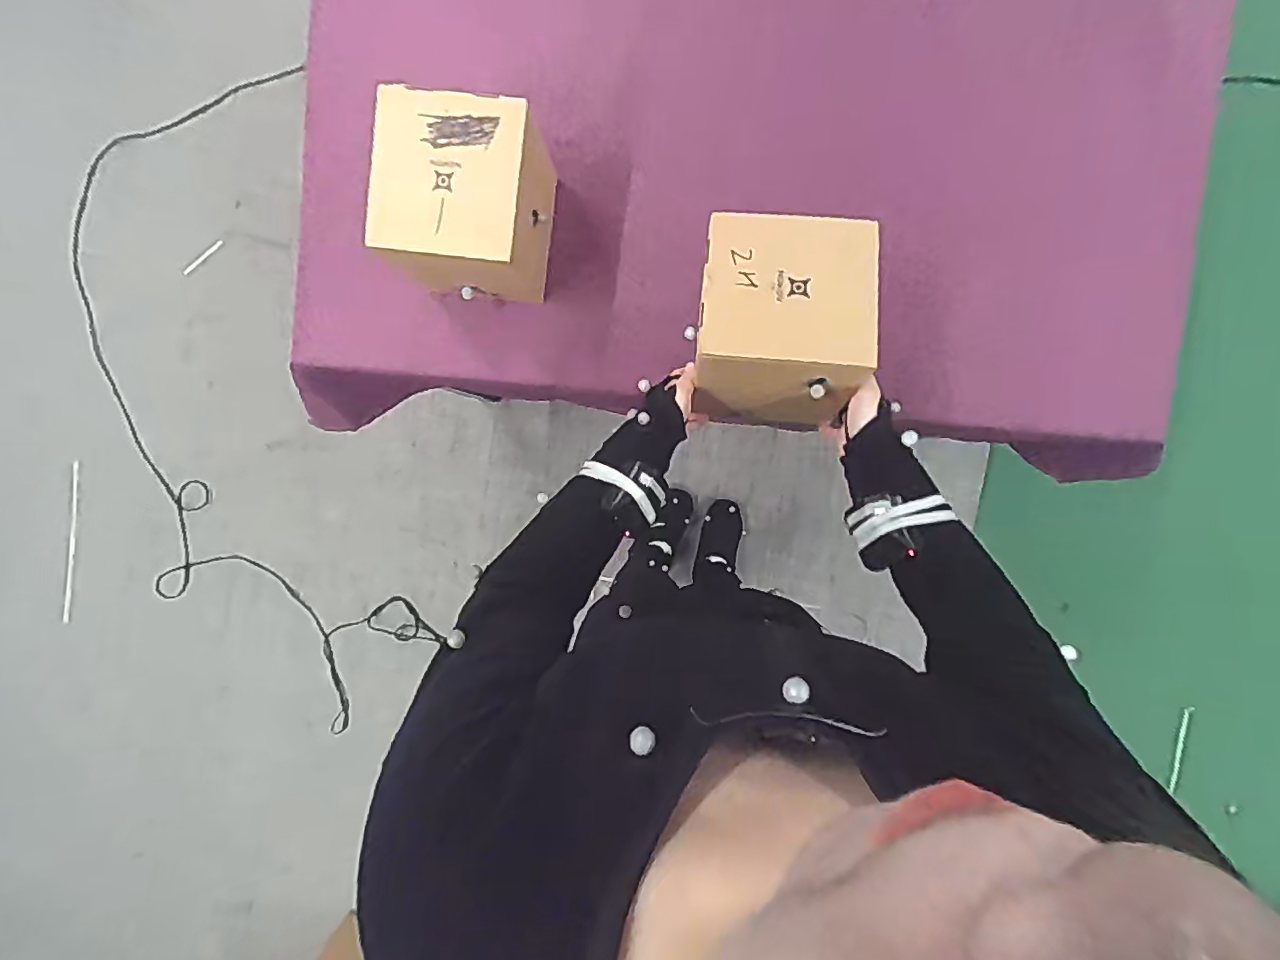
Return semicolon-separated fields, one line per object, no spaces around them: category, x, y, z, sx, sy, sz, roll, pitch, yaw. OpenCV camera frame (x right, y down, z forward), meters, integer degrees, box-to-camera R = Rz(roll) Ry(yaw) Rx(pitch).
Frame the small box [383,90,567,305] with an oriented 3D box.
small box;-0.193;-0.340;0.681;0.168;0.176;0.179;8;93;2

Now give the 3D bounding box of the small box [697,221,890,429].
small box;0.165;-0.166;0.624;0.179;0.176;0.168;7;77;6
